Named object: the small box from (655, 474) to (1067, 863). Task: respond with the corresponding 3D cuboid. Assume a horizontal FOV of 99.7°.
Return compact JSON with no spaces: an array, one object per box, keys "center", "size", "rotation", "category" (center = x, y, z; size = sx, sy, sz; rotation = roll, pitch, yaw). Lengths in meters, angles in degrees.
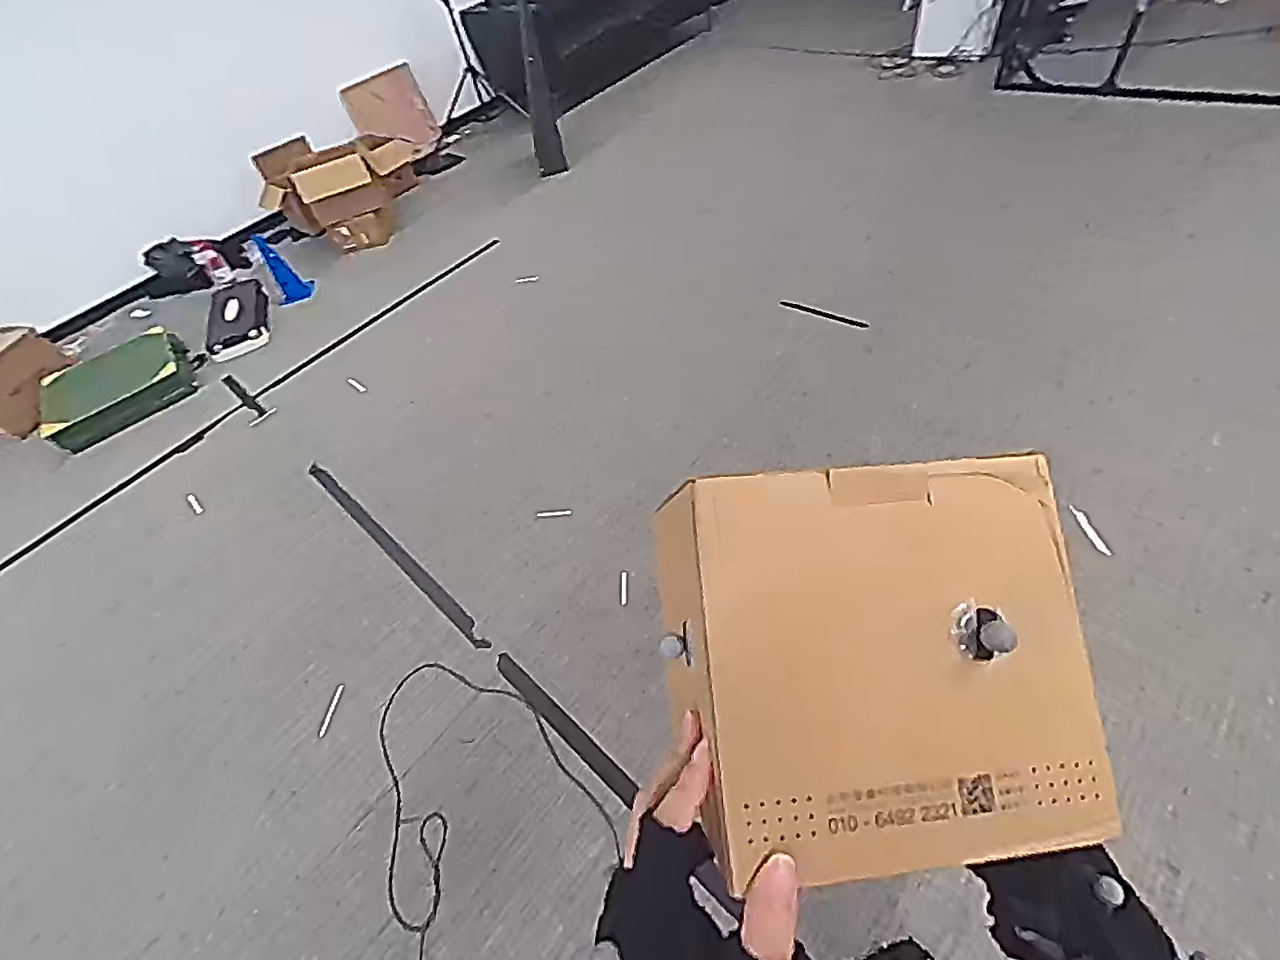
[{"center":[0.103,0.099,0.324],"size":[0.168,0.179,0.176],"rotation":[-5,82,-3],"category":"small box"}]
